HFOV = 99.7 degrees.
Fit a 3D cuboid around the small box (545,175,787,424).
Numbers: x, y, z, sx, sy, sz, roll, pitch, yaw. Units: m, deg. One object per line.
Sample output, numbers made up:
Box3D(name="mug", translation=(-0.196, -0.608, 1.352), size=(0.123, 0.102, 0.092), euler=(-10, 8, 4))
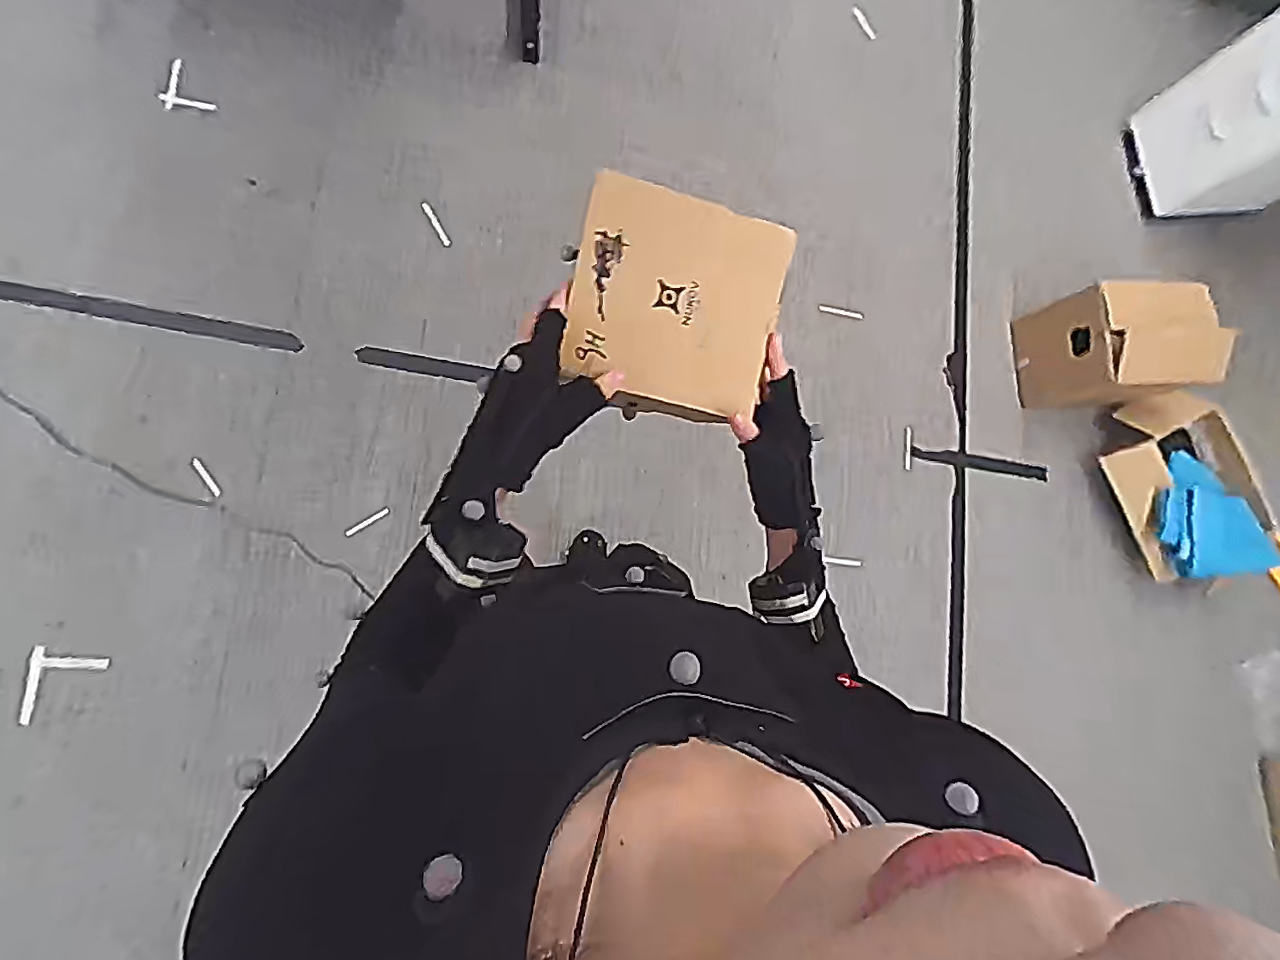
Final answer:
Box3D(name="small box", translation=(0.010, -0.155, 0.524), size=(0.179, 0.176, 0.168), euler=(11, 95, -12))
